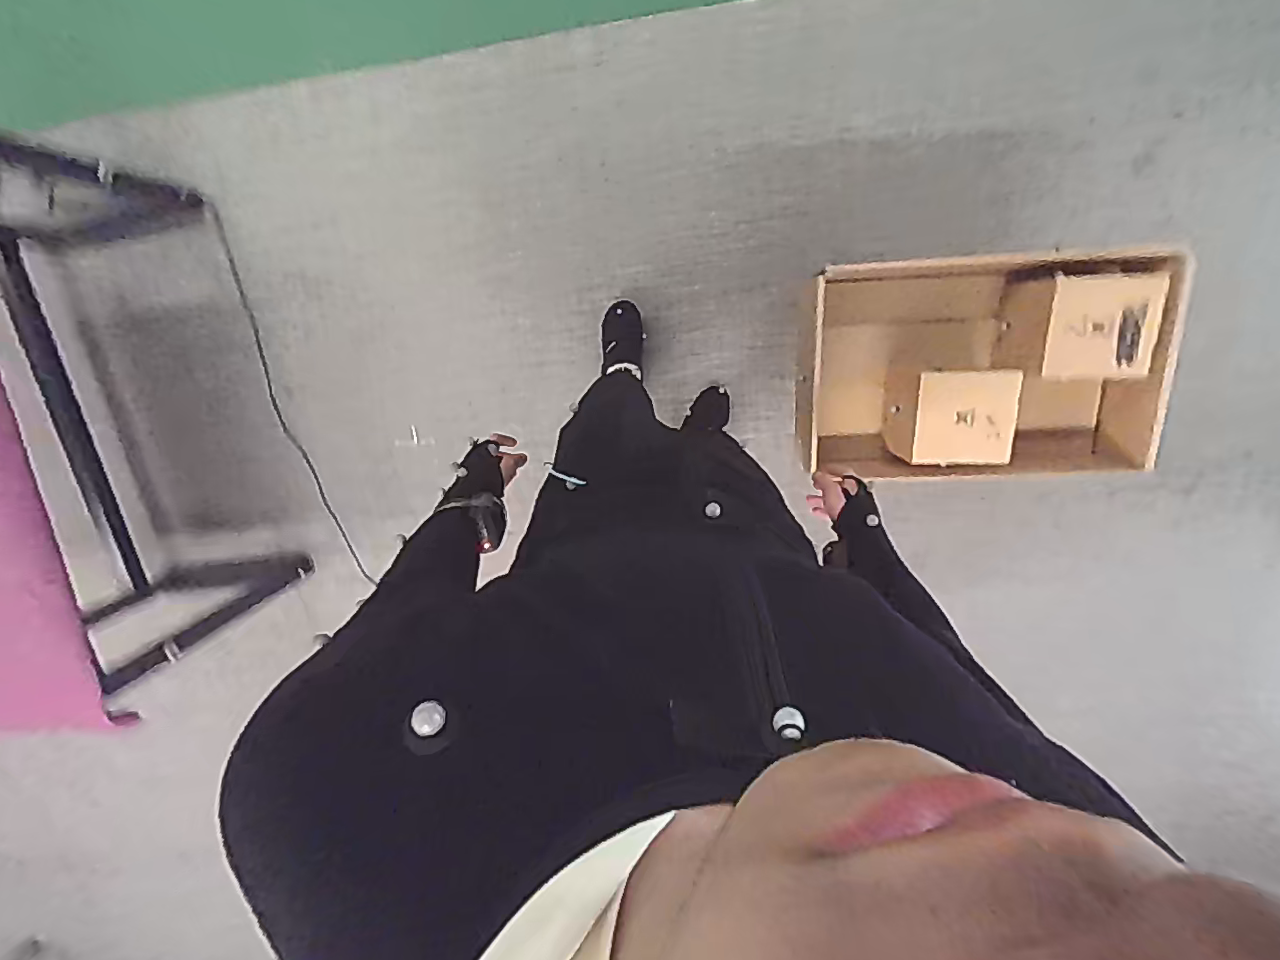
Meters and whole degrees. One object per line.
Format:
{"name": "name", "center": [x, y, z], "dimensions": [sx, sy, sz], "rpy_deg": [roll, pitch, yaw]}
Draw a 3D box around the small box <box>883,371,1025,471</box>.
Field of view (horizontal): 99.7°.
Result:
{"name": "small box", "center": [0.586, -0.118, 1.036], "dimensions": [0.179, 0.176, 0.168], "rpy_deg": [1, 106, 5]}
